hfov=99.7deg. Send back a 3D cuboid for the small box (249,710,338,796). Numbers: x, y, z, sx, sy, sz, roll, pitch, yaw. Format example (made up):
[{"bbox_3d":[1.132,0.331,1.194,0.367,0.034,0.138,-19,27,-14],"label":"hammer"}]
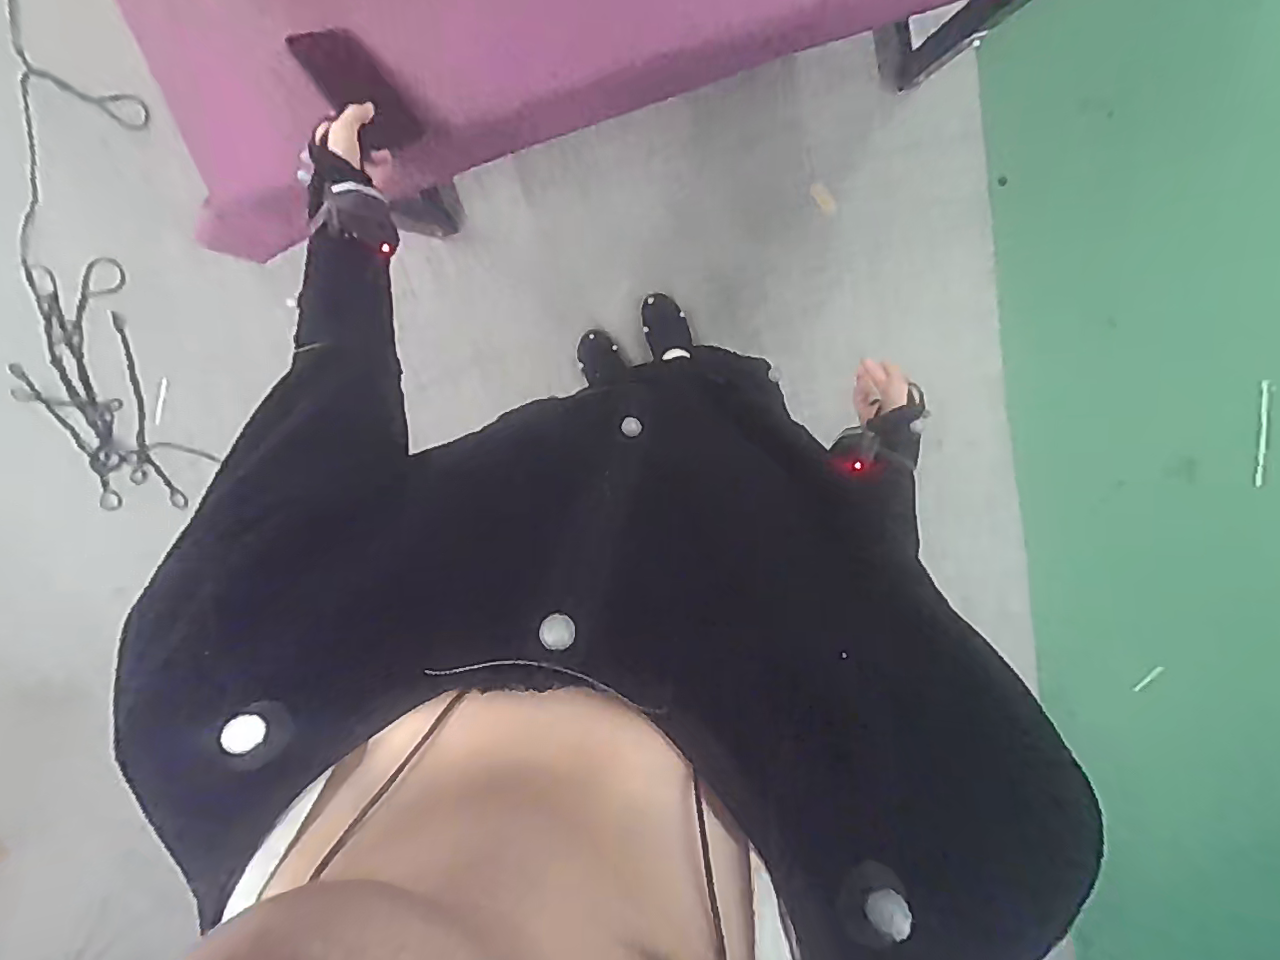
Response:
[{"bbox_3d":[-1.132,0.878,1.759,0.168,0.176,0.179,-17,109,7],"label":"small box"}]

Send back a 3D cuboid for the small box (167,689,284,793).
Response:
[{"bbox_3d":[-1.163,0.735,1.538,0.179,0.176,0.168,-34,106,12],"label":"small box"}]
